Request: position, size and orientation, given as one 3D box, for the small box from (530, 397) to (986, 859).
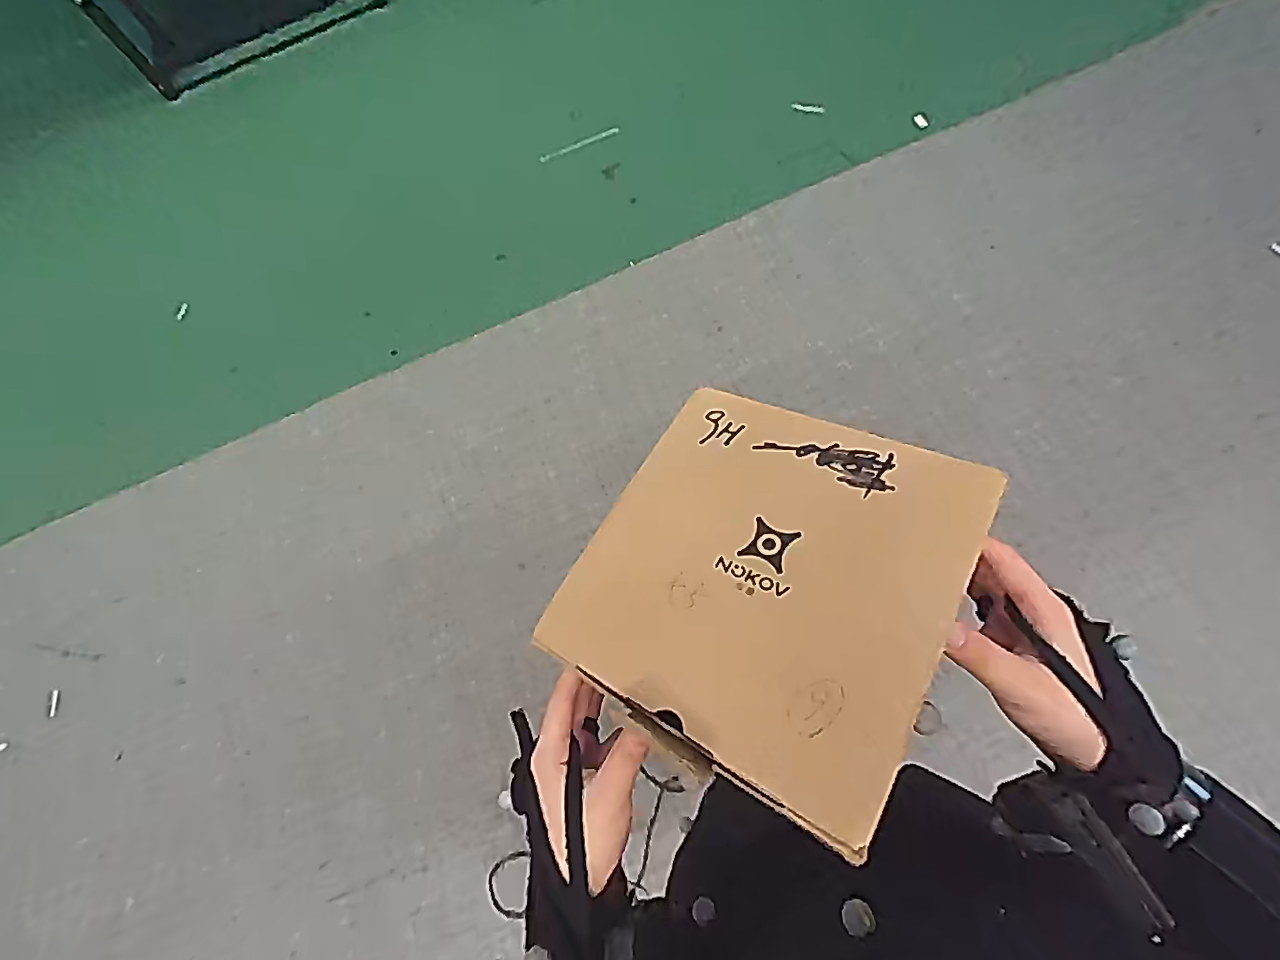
[{"bbox_3d":[0.074,0.085,0.325,0.168,0.176,0.179,22,68,29],"label":"small box"}]
